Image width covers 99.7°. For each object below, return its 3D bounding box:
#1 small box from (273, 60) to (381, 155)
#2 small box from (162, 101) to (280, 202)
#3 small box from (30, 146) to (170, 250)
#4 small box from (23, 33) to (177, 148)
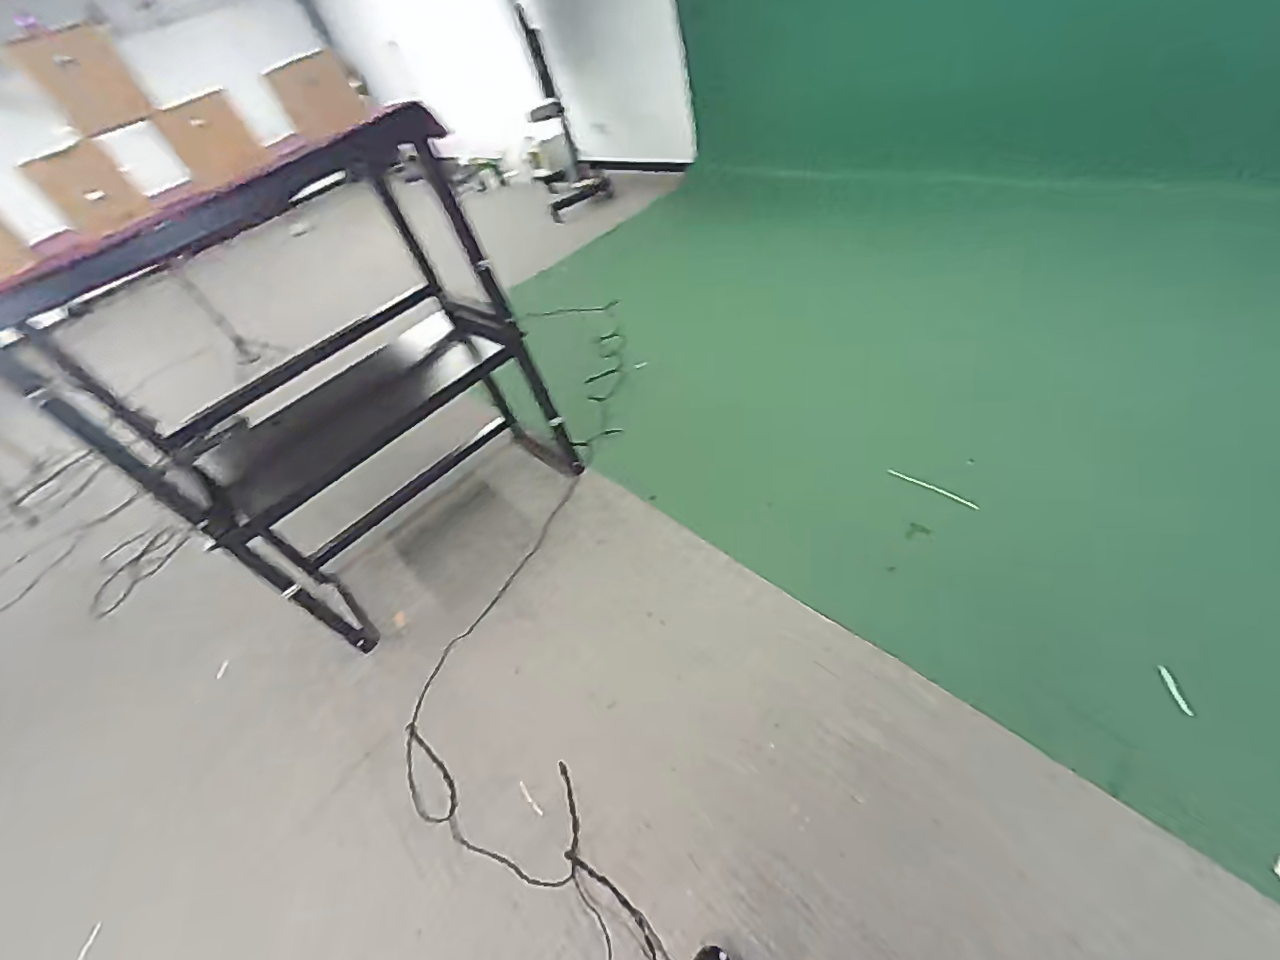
[{"bbox_3d":[-0.844,-1.002,1.465,0.179,0.176,0.168,-38,47,-18],"label":"small box"},{"bbox_3d":[-1.051,-0.828,1.367,0.179,0.176,0.168,-41,45,-20],"label":"small box"},{"bbox_3d":[-1.250,-0.658,1.263,0.168,0.176,0.179,-41,46,-22],"label":"small box"},{"bbox_3d":[-1.196,-0.859,1.209,0.179,0.176,0.168,-41,45,-24],"label":"small box"}]
